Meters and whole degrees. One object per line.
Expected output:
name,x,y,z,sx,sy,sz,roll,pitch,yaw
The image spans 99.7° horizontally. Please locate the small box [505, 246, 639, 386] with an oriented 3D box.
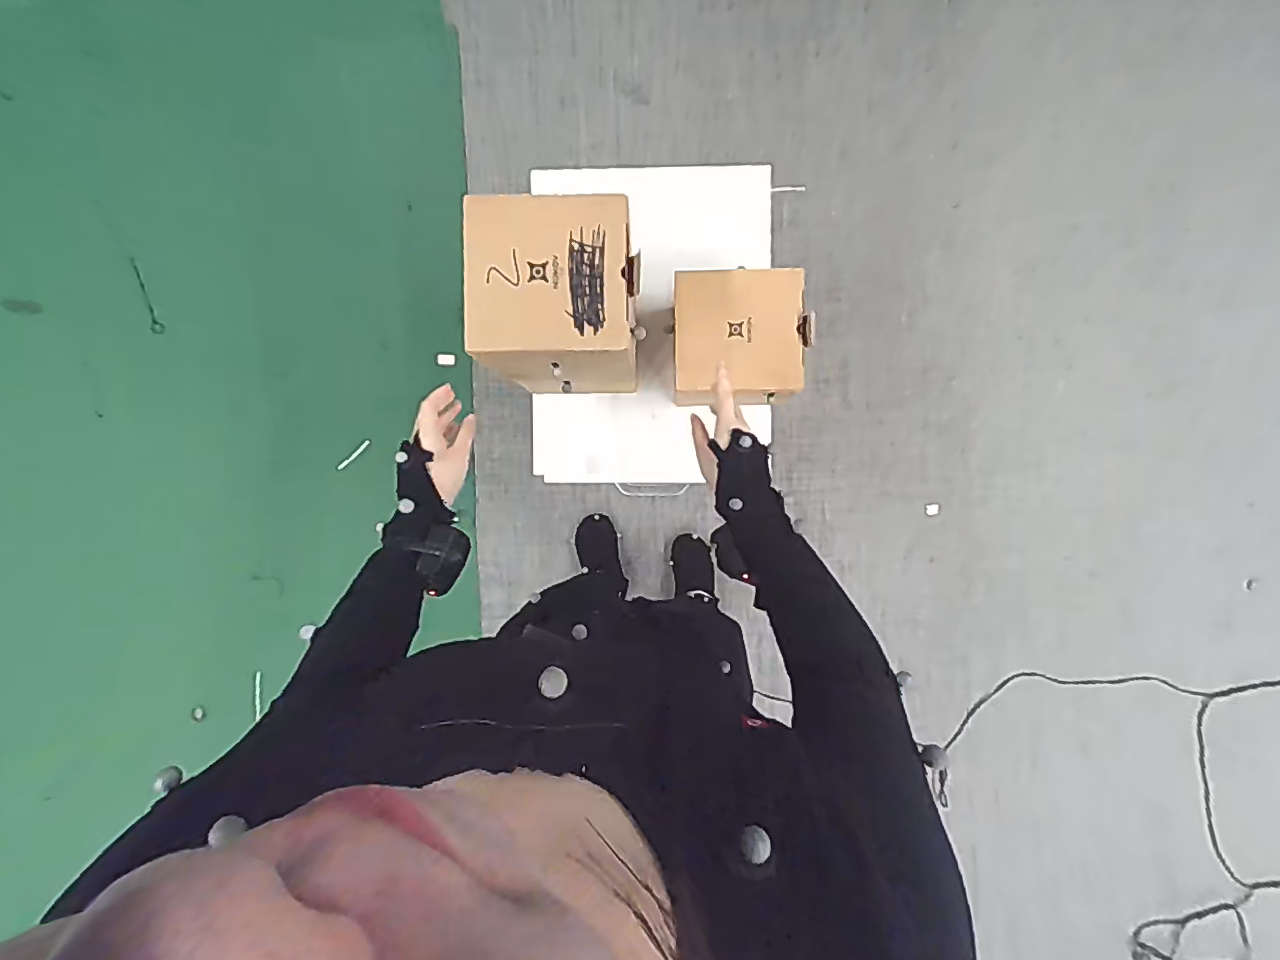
small box,-0.092,-0.234,0.810,0.179,0.176,0.168,-1,92,1
